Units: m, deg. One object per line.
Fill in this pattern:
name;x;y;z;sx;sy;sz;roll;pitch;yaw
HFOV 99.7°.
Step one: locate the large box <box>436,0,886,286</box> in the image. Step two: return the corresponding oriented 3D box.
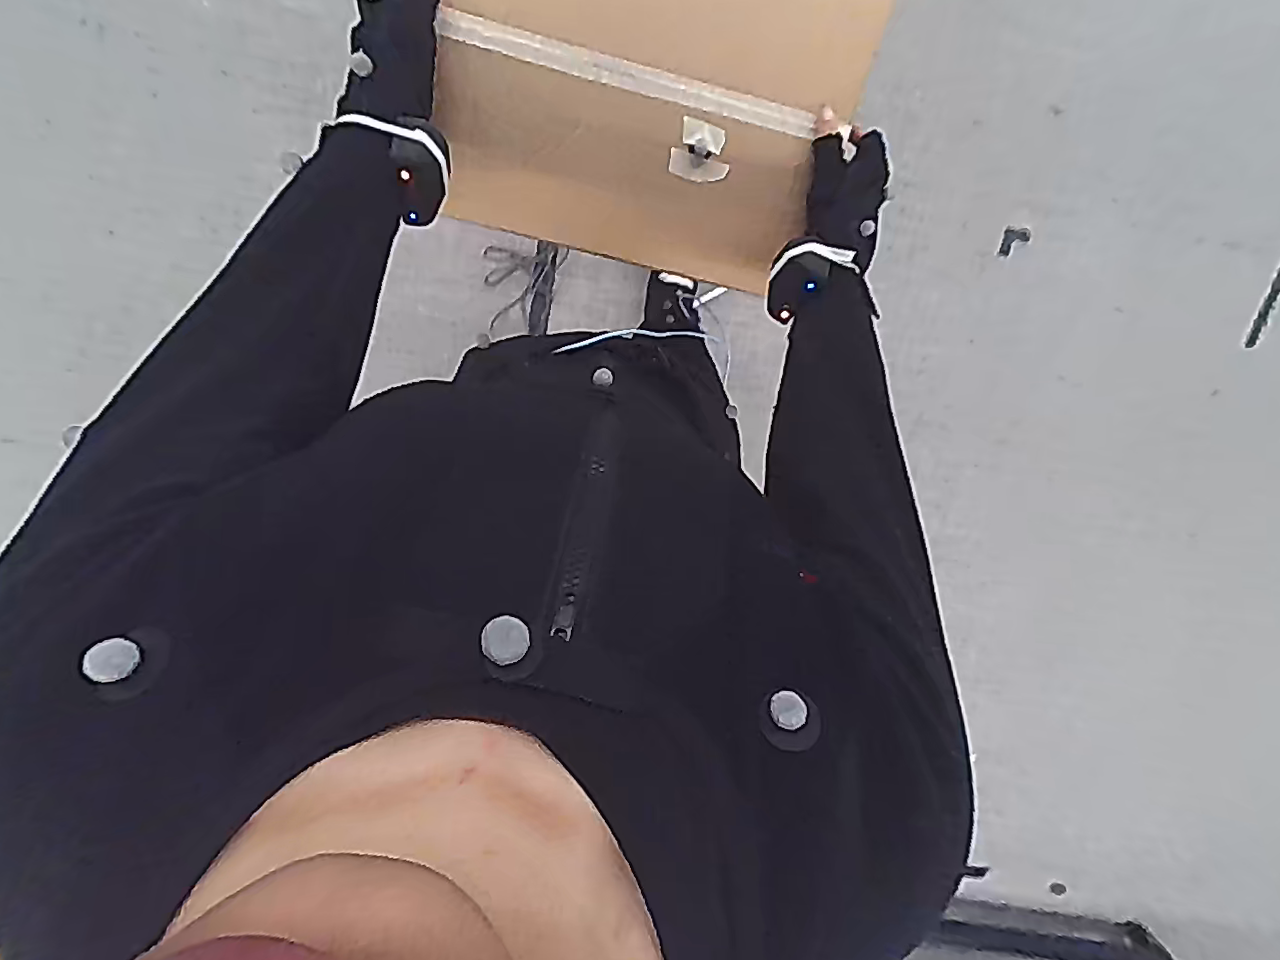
large box;0.006;-0.444;0.660;0.408;0.320;0.320;11;113;-7
